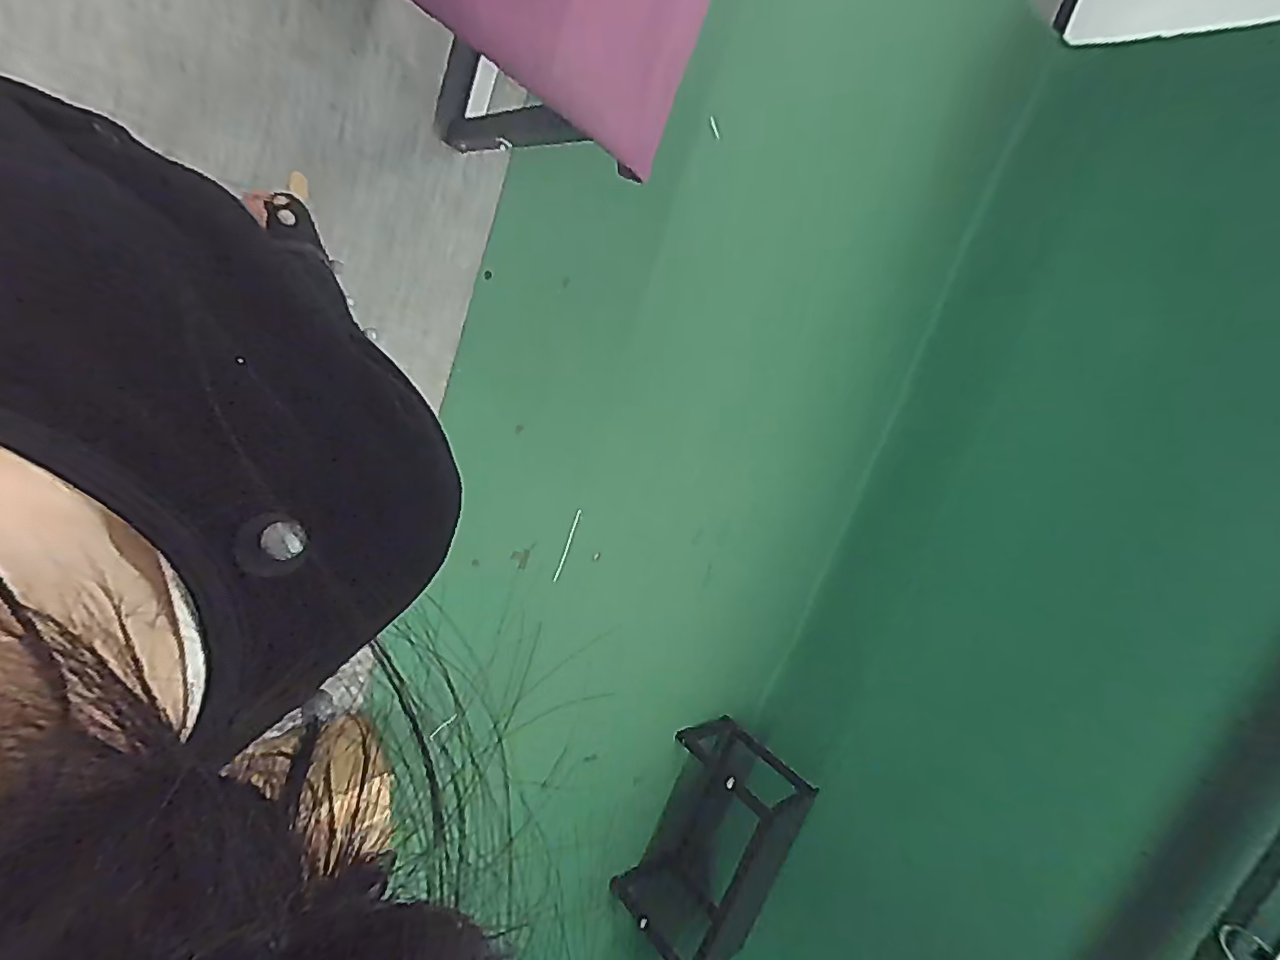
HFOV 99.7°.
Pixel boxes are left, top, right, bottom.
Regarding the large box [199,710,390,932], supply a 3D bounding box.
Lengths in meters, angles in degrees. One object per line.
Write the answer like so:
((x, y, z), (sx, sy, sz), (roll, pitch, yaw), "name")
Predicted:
((-1.000, 0.965, 1.588), (0.408, 0.320, 0.320), (-11, 120, -43), "large box")

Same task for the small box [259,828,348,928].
((-0.867, 1.045, 1.395), (0.168, 0.176, 0.179), (-9, 117, -42), "small box")

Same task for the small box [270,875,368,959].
((-0.762, 1.106, 1.285), (0.179, 0.176, 0.168), (-11, 118, -42), "small box")
